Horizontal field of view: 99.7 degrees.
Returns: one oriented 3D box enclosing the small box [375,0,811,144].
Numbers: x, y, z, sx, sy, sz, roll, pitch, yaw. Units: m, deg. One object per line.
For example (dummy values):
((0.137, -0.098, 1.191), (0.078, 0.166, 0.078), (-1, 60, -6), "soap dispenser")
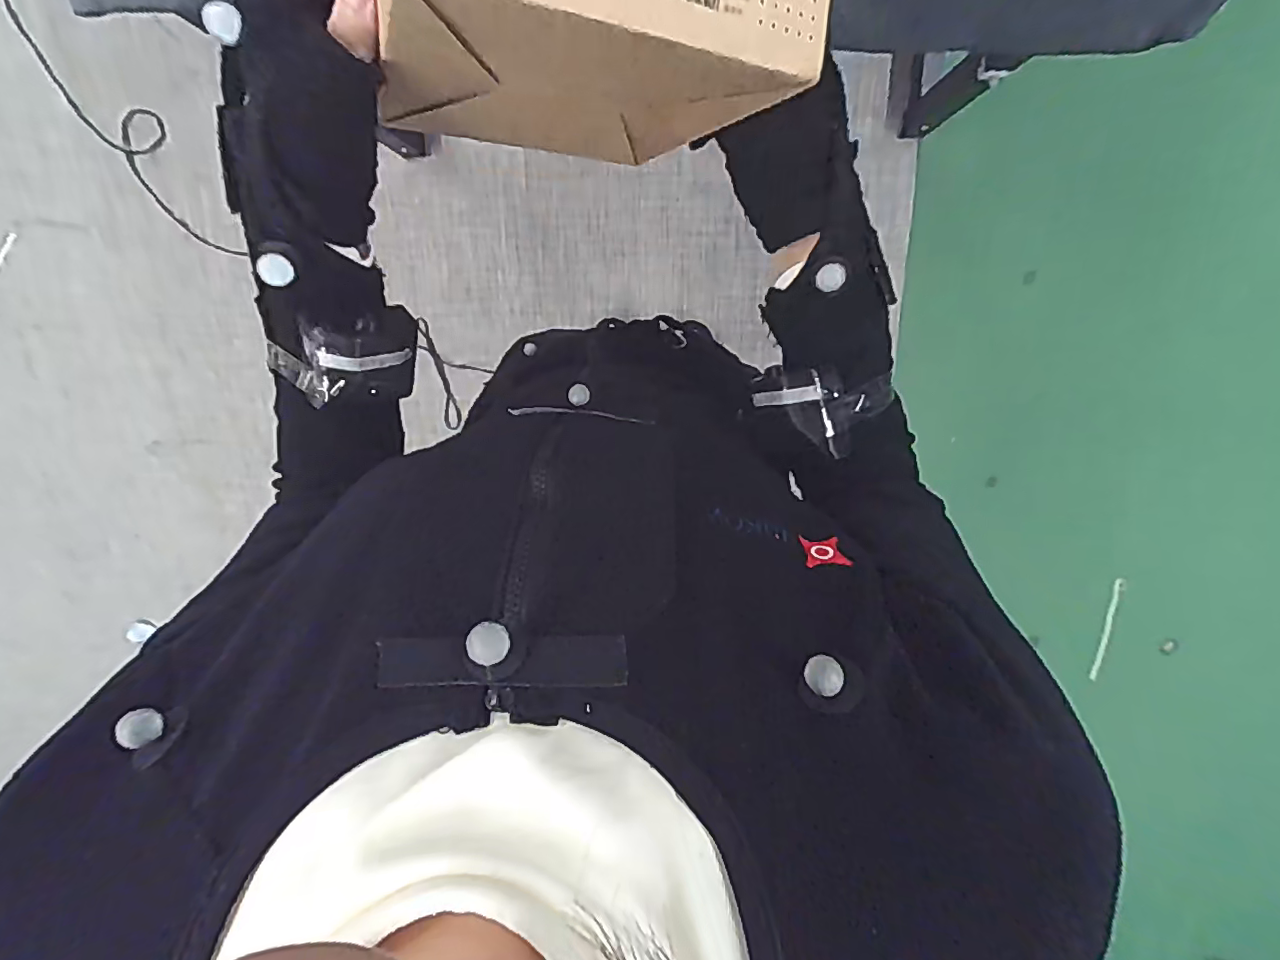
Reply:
((-0.033, -0.271, 0.248), (0.168, 0.179, 0.176), (-7, 111, -26), "small box")
